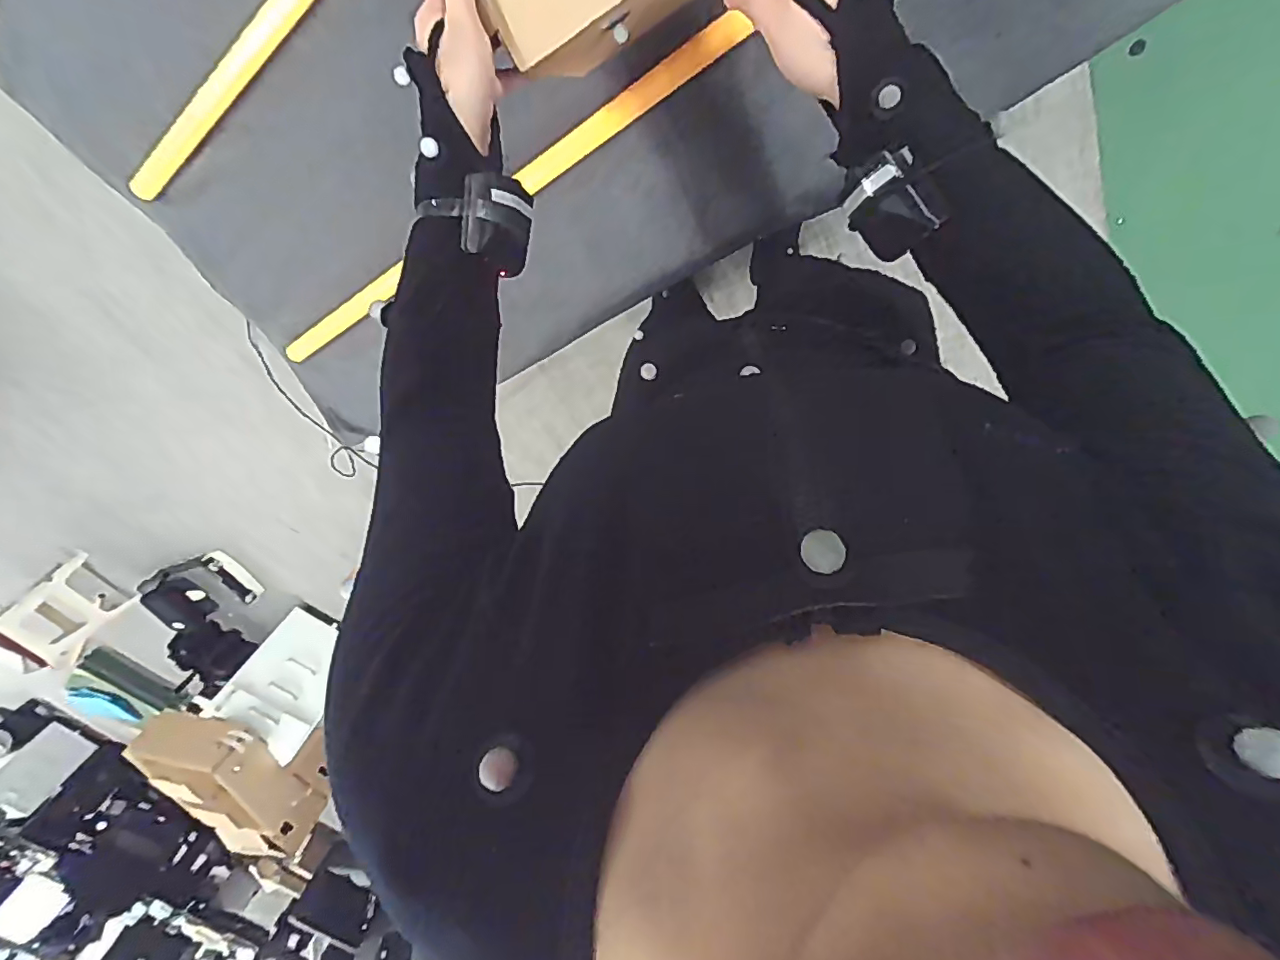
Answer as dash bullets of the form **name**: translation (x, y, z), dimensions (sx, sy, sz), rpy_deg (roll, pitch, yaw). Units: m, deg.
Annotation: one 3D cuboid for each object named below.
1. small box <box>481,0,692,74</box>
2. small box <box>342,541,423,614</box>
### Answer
- **small box**: translation (-0.037, -0.436, 0.401), dimensions (0.179, 0.176, 0.168), rpy_deg (-17, 121, 24)
- **small box**: translation (-0.907, 0.344, 1.927), dimensions (0.179, 0.176, 0.168), rpy_deg (-25, 117, 29)
